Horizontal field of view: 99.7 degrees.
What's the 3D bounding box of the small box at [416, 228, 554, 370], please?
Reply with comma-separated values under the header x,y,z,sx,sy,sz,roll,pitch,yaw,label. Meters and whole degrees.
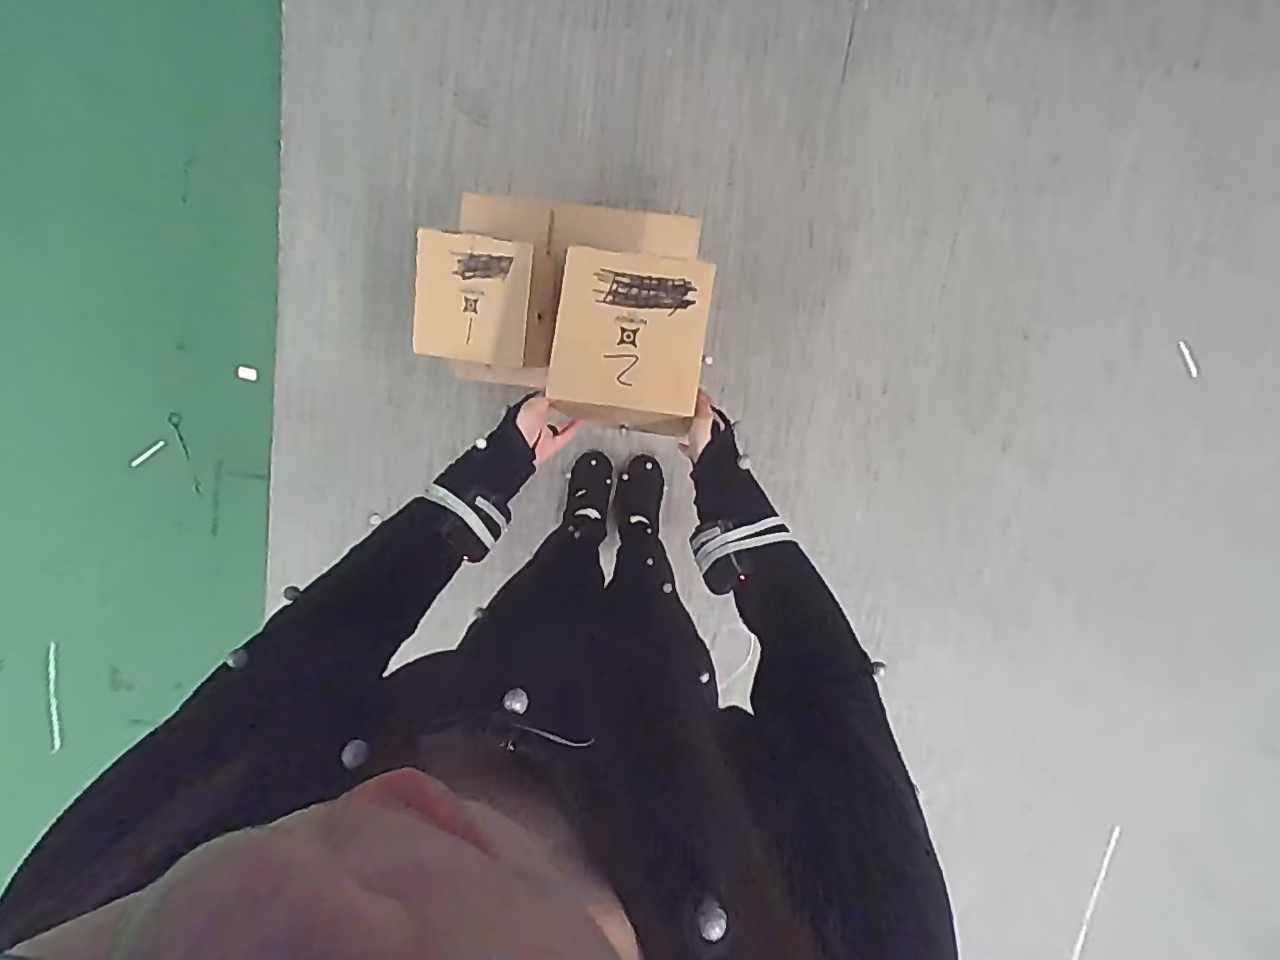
x,y,z,sx,sy,sz,roll,pitch,yaw,label
-0.236,-0.278,0.859,0.168,0.176,0.179,9,104,0,small box
